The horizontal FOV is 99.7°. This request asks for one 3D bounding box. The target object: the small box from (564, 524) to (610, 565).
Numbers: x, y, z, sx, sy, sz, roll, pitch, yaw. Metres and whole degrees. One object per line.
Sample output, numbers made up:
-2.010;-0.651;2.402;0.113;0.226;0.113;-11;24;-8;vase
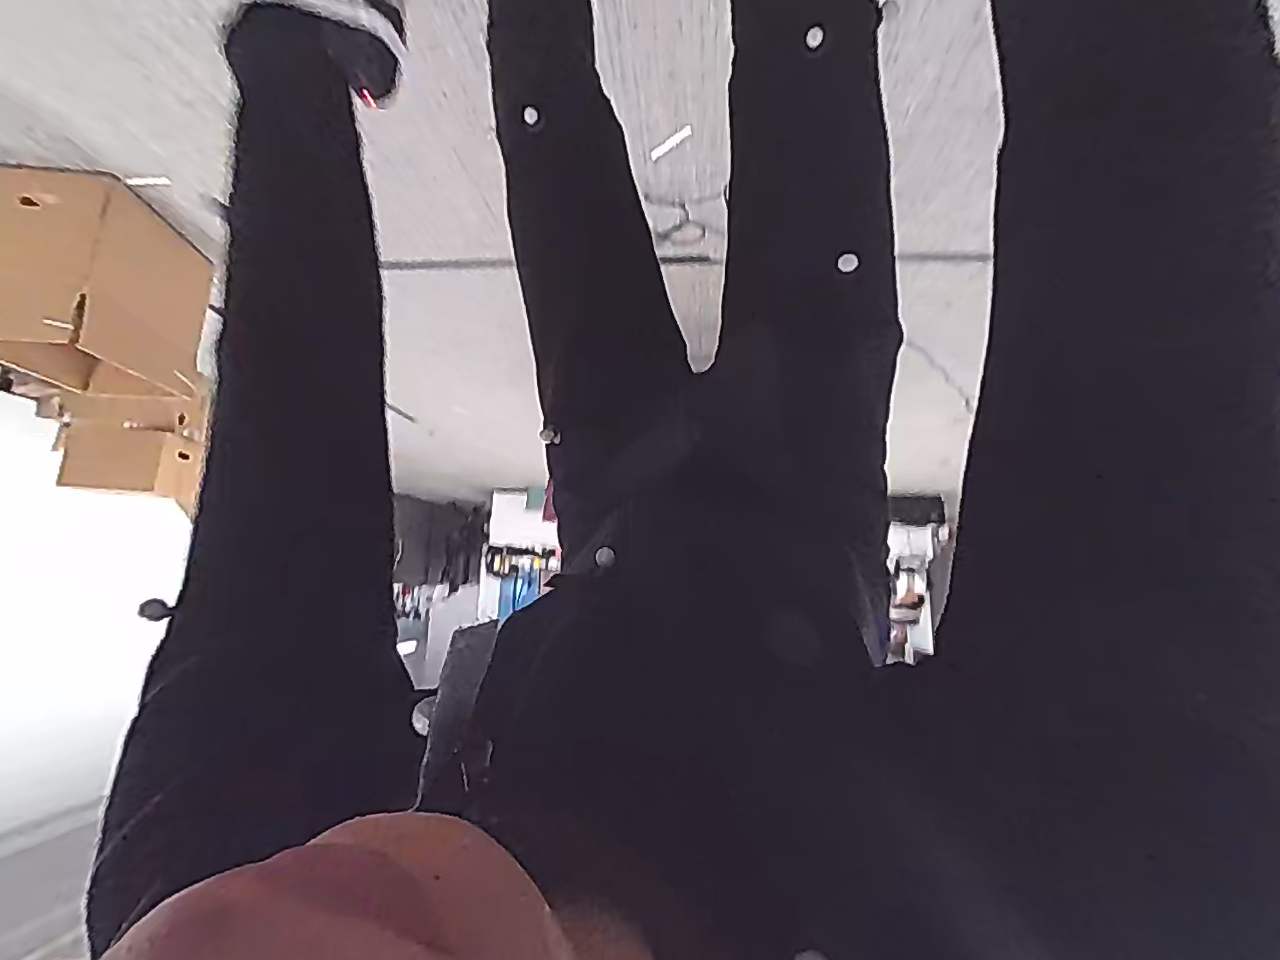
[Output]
-0.228;0.284;2.361;0.168;0.176;0.179;0;170;10;small box
